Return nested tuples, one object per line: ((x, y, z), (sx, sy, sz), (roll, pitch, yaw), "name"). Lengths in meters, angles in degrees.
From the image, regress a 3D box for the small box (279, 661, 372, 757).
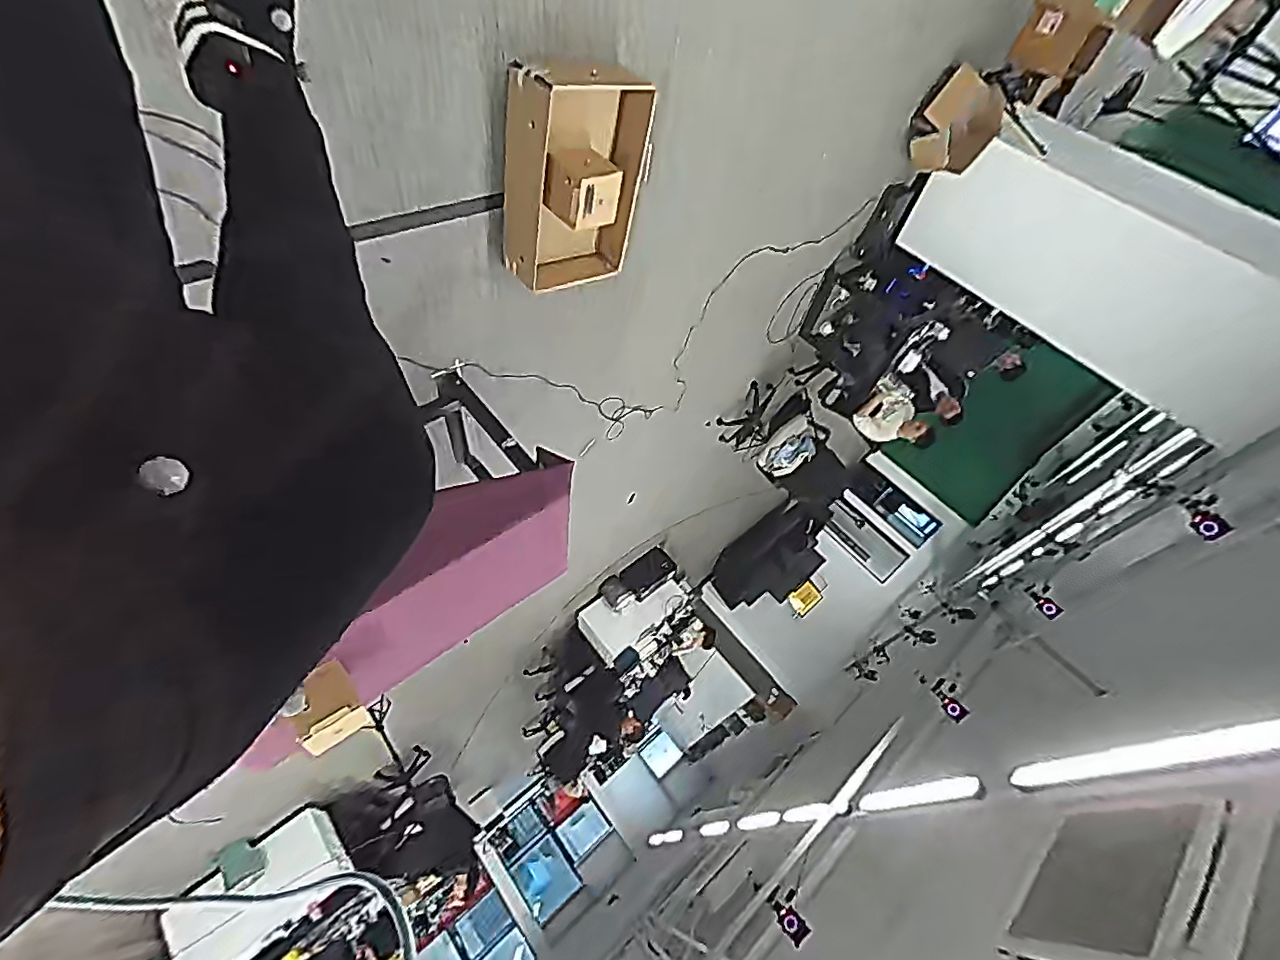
((-0.899, 0.650, 1.548), (0.168, 0.176, 0.179), (-29, 155, -33), "small box")
